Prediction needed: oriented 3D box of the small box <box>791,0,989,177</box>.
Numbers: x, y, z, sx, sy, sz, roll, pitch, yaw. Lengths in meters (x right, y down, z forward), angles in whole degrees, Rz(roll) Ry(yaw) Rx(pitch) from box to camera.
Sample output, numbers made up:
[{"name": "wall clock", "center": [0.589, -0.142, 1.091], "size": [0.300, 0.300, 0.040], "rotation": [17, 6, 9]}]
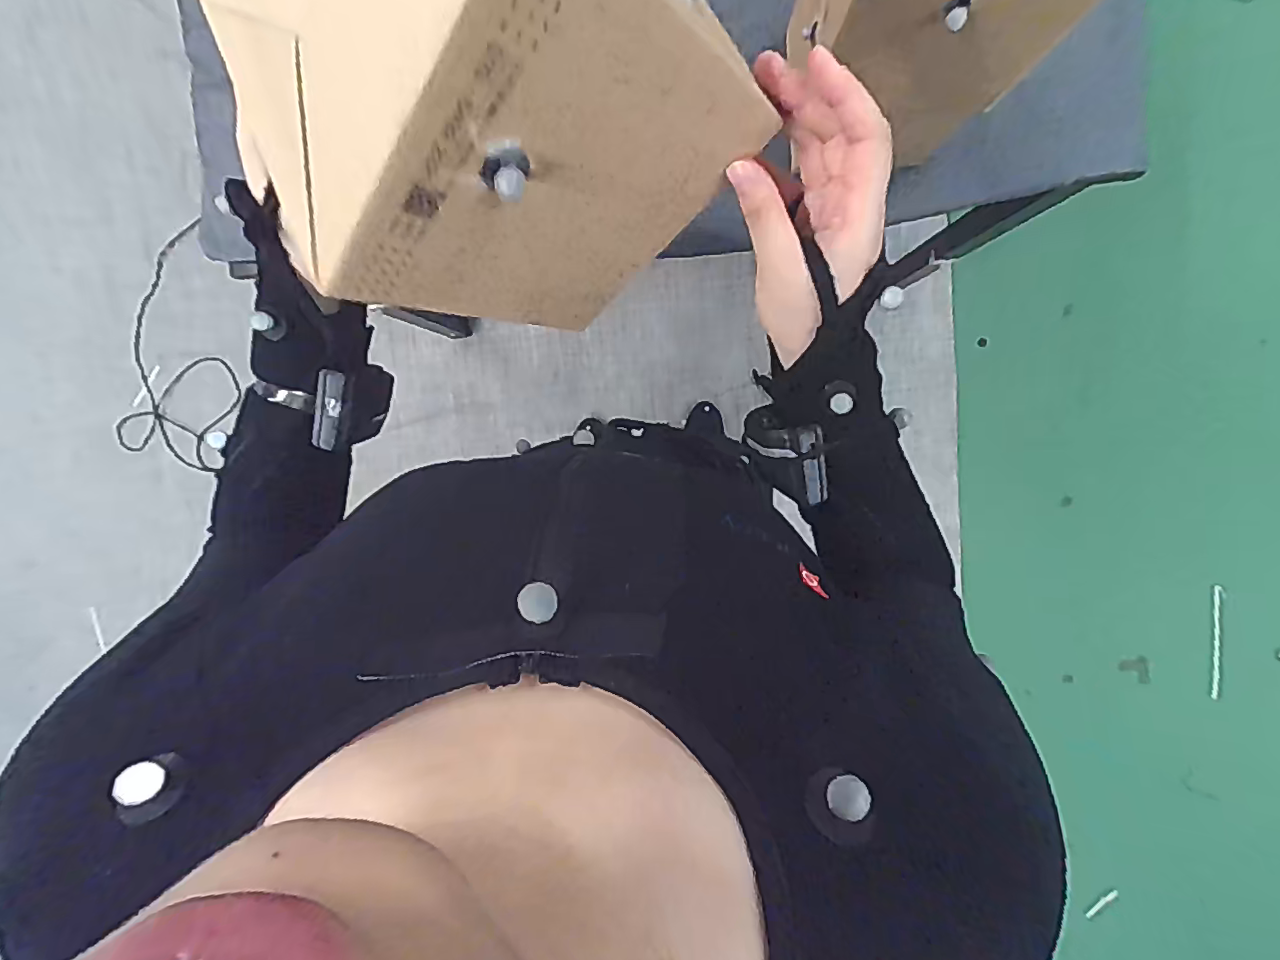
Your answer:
[{"name": "small box", "center": [0.268, -0.469, 0.600], "size": [0.168, 0.176, 0.179], "rotation": [-4, 96, 4]}]

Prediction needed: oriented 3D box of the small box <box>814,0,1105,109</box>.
[{"name": "small box", "center": [0.260, -0.438, 0.441], "size": [0.179, 0.176, 0.168], "rotation": [7, 96, 4]}]
